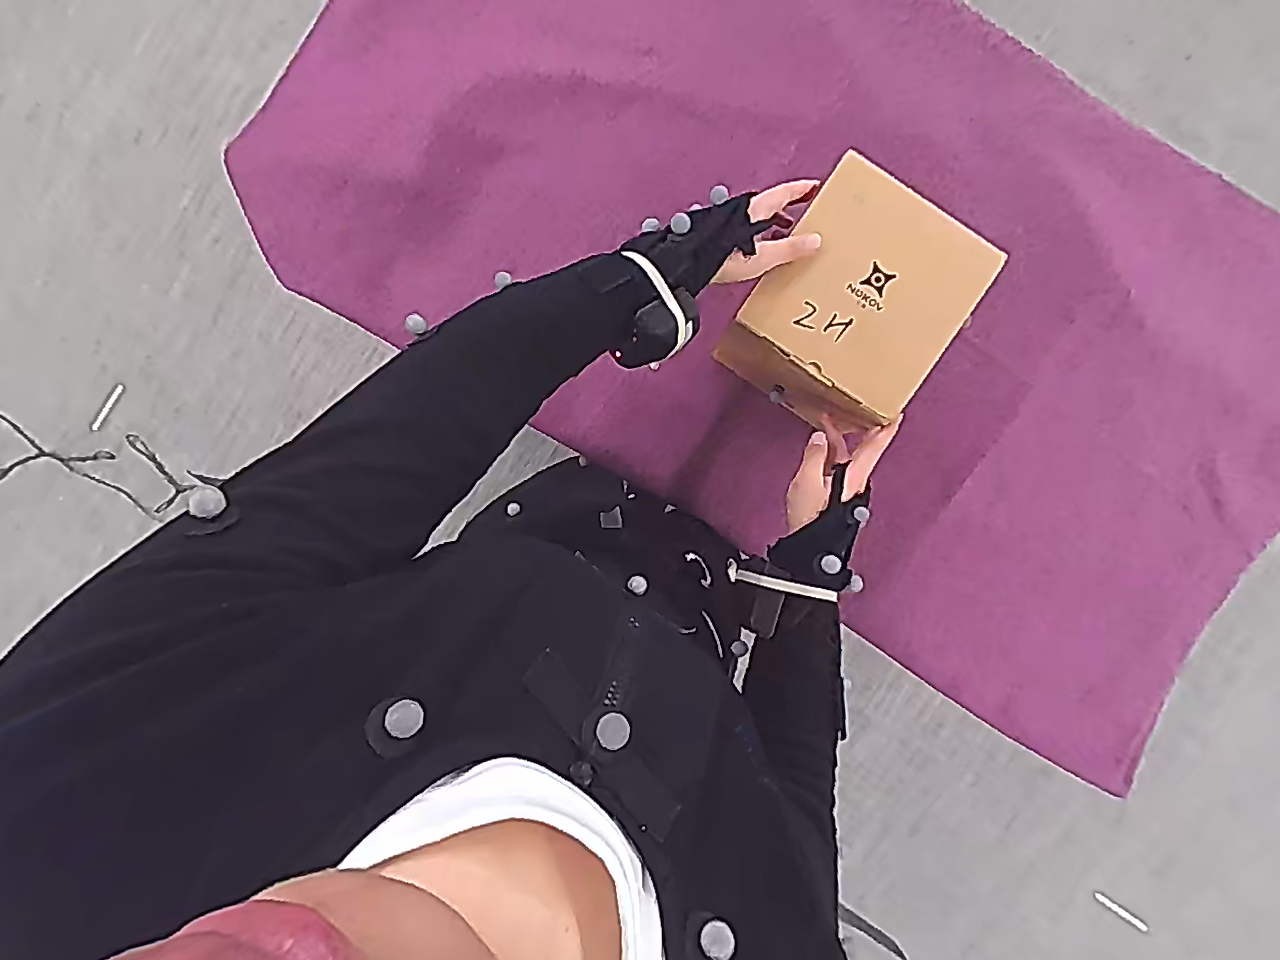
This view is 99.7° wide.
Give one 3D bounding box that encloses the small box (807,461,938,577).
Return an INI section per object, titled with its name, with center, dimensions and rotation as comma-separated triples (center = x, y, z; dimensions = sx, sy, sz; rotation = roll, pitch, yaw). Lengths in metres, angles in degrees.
[small box]
center = 0.477, 0.076, 1.145
dimensions = 0.168, 0.176, 0.179
rotation = 34, 92, 1
